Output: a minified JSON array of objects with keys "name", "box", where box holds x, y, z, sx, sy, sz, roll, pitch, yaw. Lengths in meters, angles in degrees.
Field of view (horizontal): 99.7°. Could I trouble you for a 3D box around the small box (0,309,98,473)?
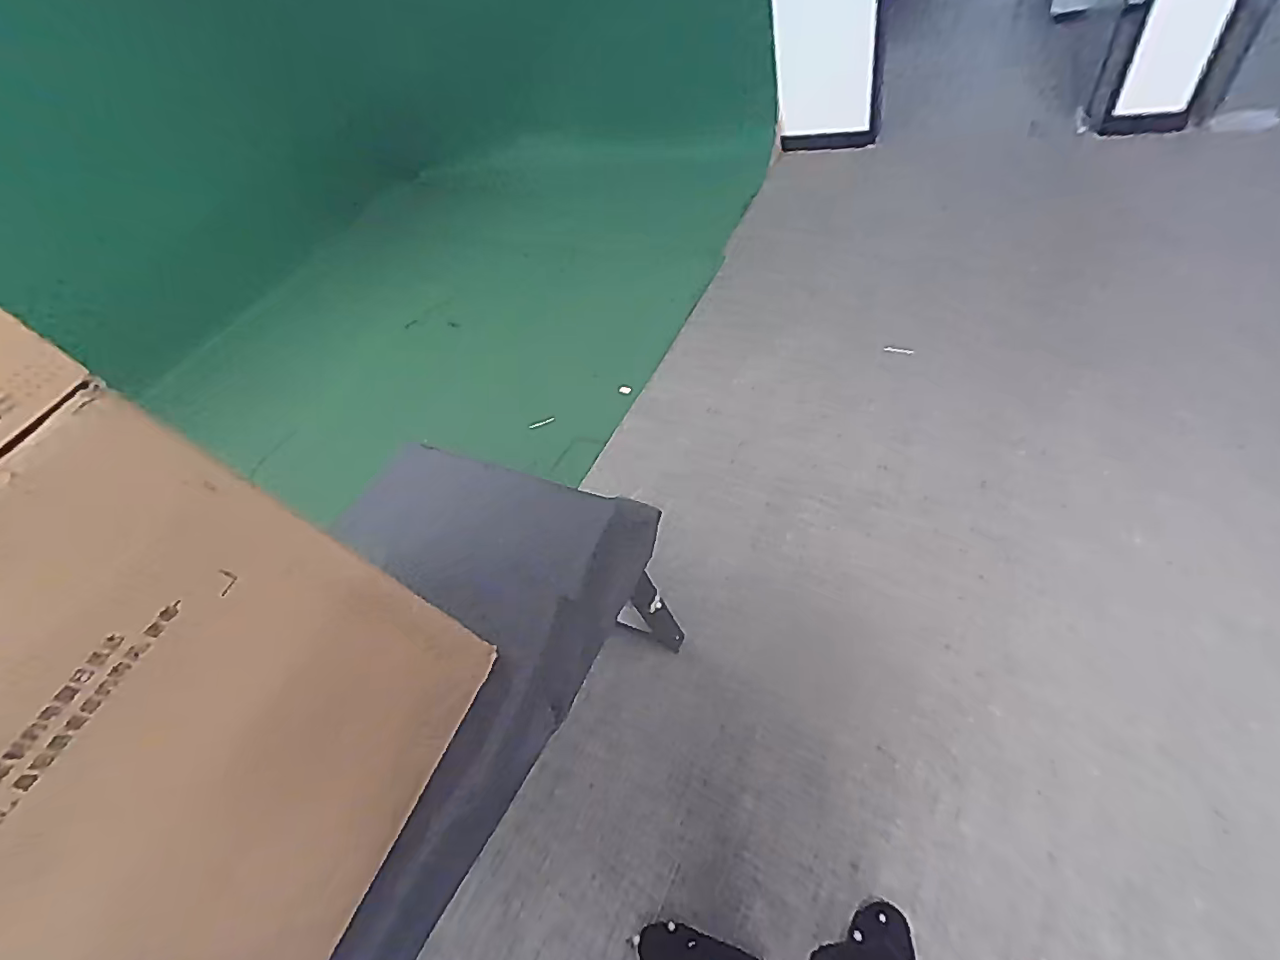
[{"name":"small box","box":[-0.526,-0.071,0.343,0.179,0.176,0.168,13,60,26]}]
